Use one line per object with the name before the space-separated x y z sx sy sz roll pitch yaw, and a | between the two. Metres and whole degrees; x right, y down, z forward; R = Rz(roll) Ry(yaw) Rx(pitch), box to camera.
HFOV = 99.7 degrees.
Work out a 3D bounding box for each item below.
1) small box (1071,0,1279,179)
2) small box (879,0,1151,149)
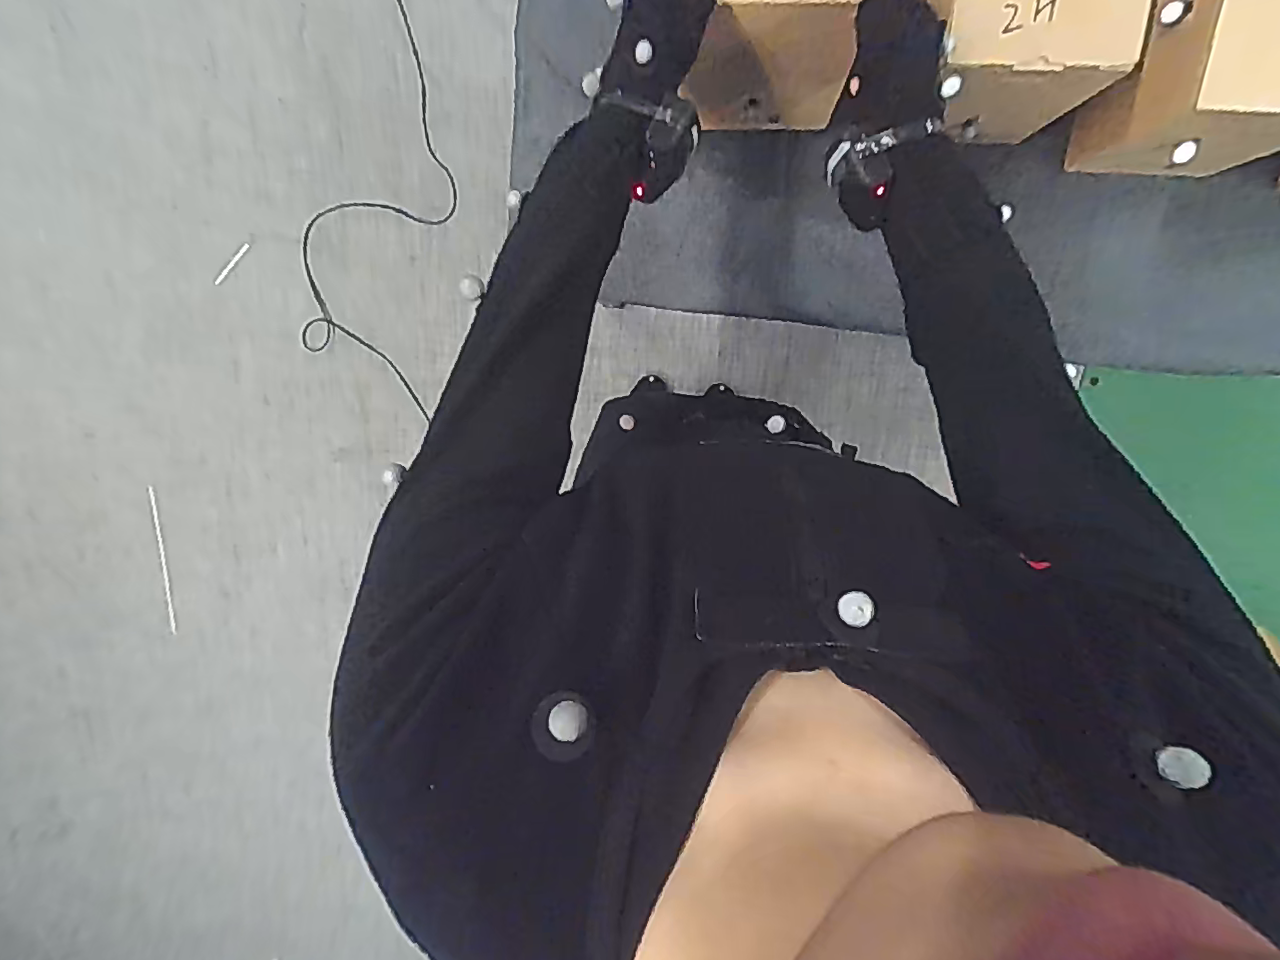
small box | 0.575 -0.416 0.532 0.168 0.176 0.179 4 102 3
small box | 0.355 -0.458 0.532 0.168 0.176 0.179 3 102 3
